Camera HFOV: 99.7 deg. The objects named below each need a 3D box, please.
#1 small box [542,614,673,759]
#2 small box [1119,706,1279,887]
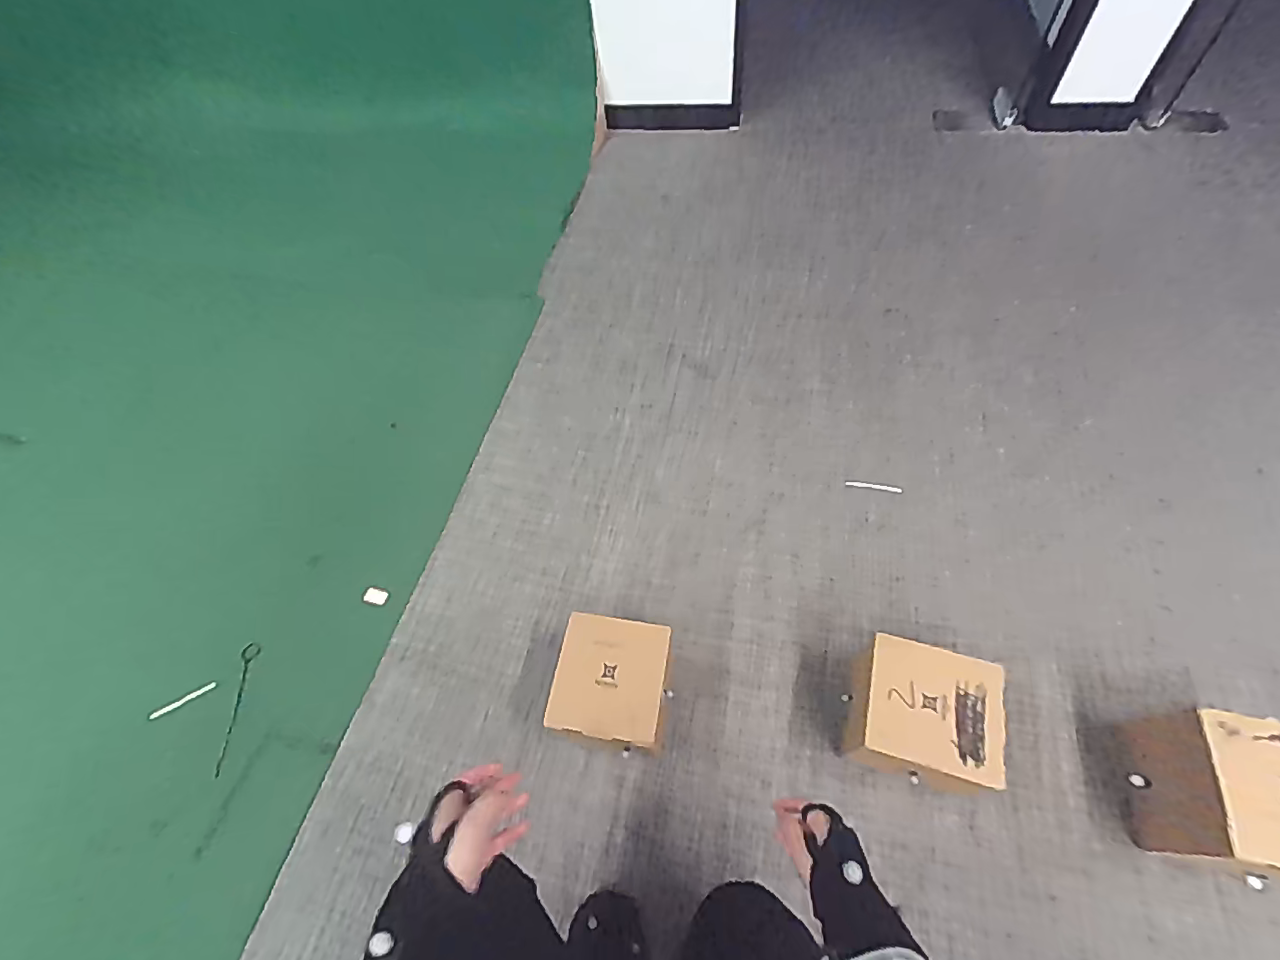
[{"bbox_3d":[-0.040,0.340,0.879,0.168,0.176,0.179,7,58,10],"label":"small box"},{"bbox_3d":[0.798,0.427,0.725,0.168,0.176,0.179,10,60,12],"label":"small box"}]
